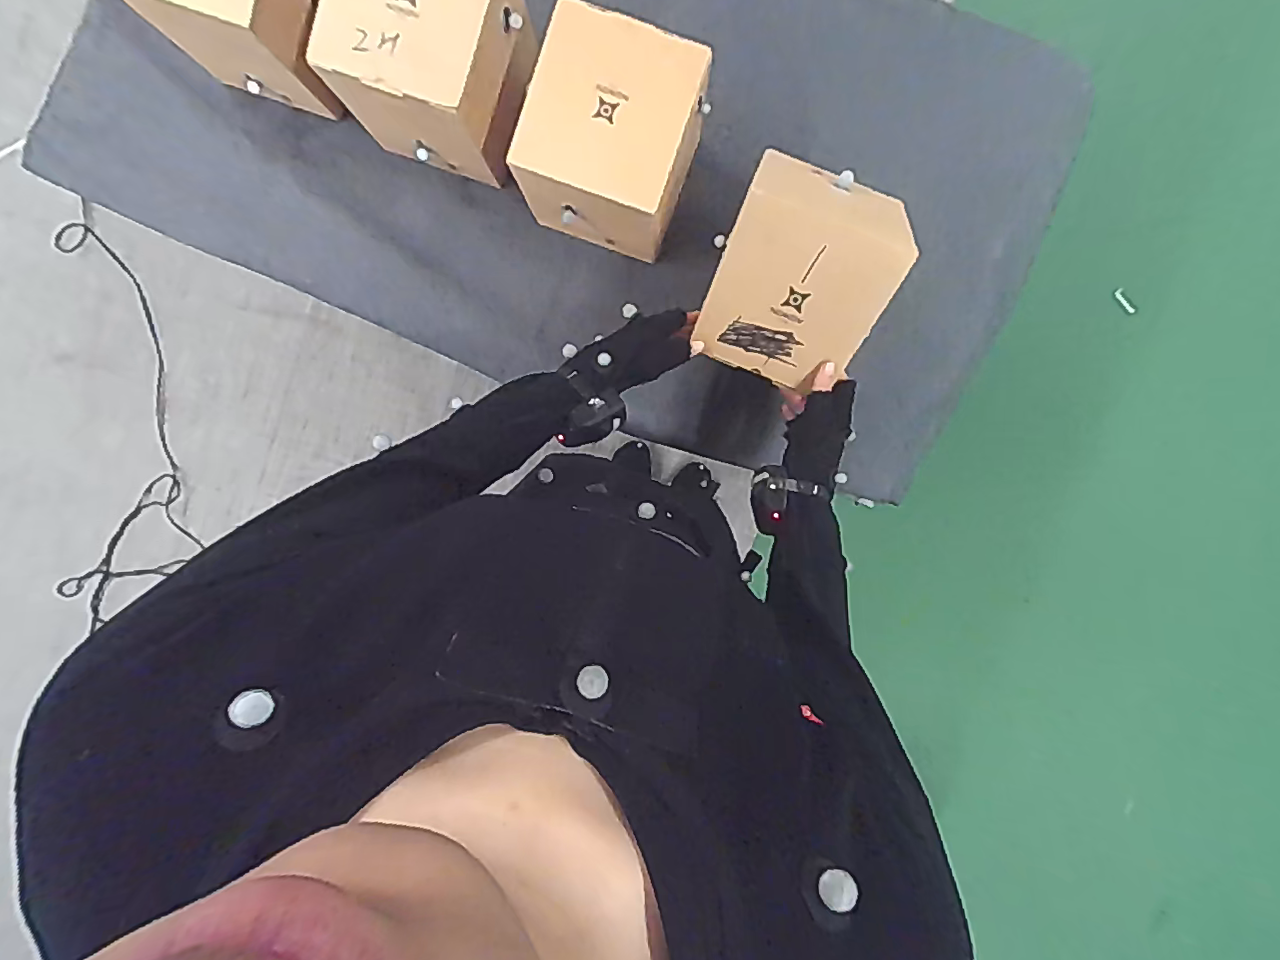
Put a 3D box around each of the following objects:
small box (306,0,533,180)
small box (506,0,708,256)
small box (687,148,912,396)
[{"bbox_3d":[-0.233,-0.489,0.619,0.168,0.176,0.179,19,94,-1],"label":"small box"},{"bbox_3d":[-0.032,-0.389,0.628,0.168,0.176,0.179,19,94,-1],"label":"small box"},{"bbox_3d":[0.170,-0.231,0.600,0.168,0.176,0.179,22,134,-1],"label":"small box"}]
